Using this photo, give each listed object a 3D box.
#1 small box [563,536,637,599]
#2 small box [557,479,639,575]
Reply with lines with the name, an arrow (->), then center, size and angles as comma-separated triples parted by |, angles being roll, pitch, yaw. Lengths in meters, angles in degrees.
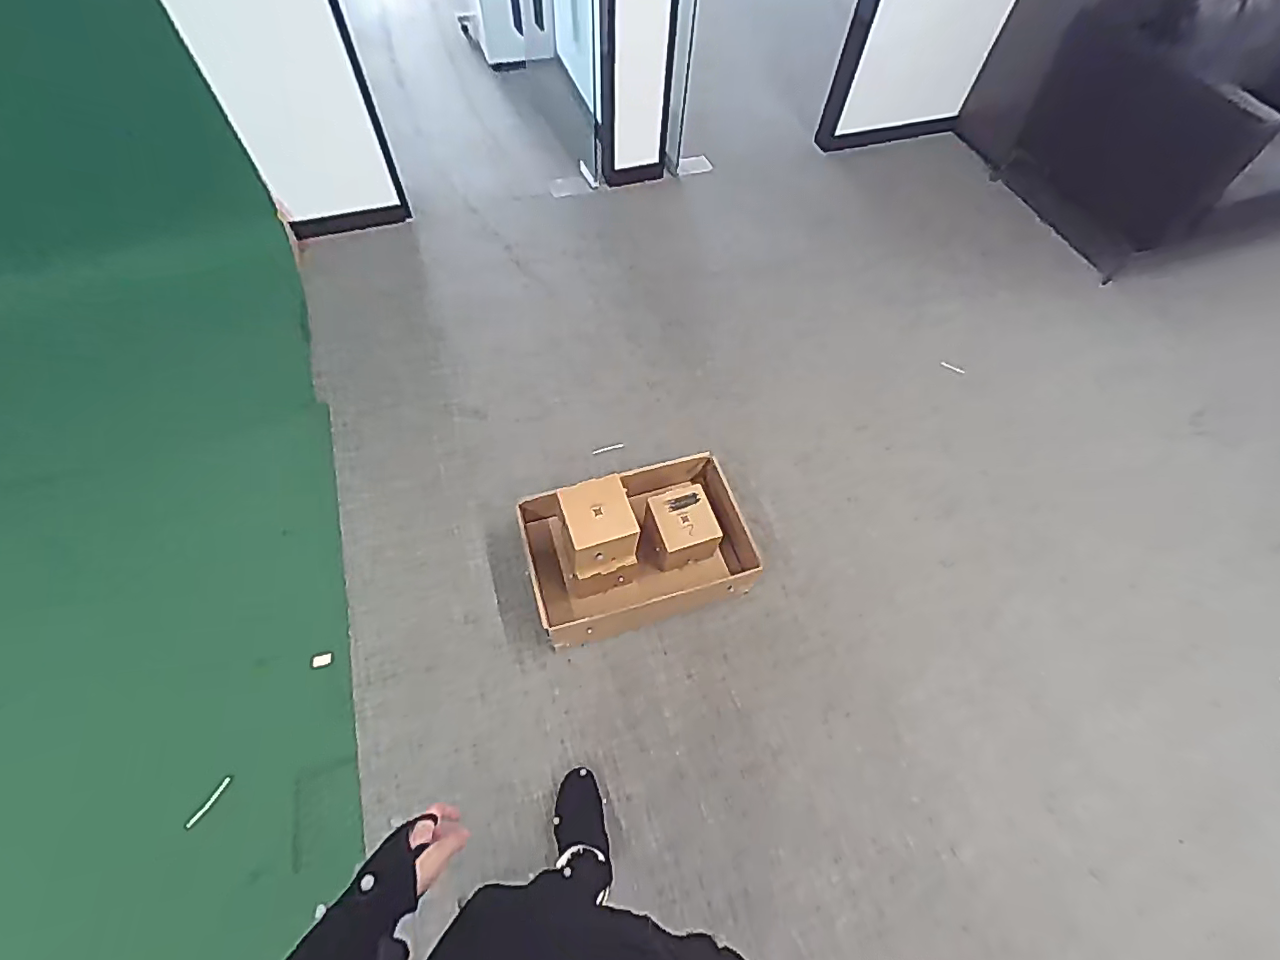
small box -> -0.115, 0.223, 1.526 | 0.168, 0.176, 0.179 | -14, 61, -14
small box -> -0.110, 0.128, 1.394 | 0.168, 0.176, 0.179 | -15, 61, -14
